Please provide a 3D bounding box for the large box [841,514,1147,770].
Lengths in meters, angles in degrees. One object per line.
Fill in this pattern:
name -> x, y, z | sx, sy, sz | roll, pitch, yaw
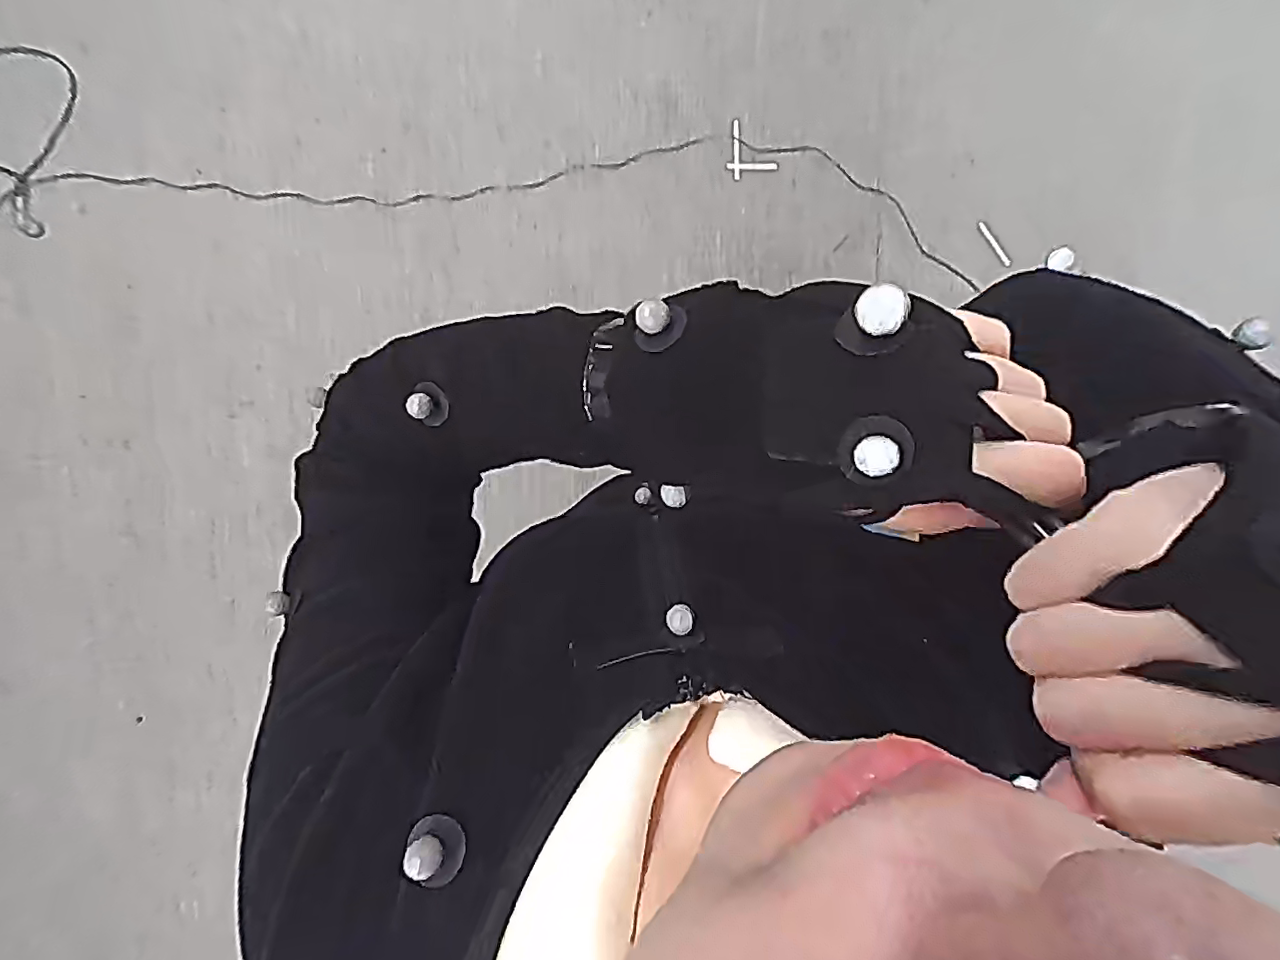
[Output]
large box -> 0.740, 0.325, 1.195 | 0.408, 0.320, 0.320 | 40, 91, -4
